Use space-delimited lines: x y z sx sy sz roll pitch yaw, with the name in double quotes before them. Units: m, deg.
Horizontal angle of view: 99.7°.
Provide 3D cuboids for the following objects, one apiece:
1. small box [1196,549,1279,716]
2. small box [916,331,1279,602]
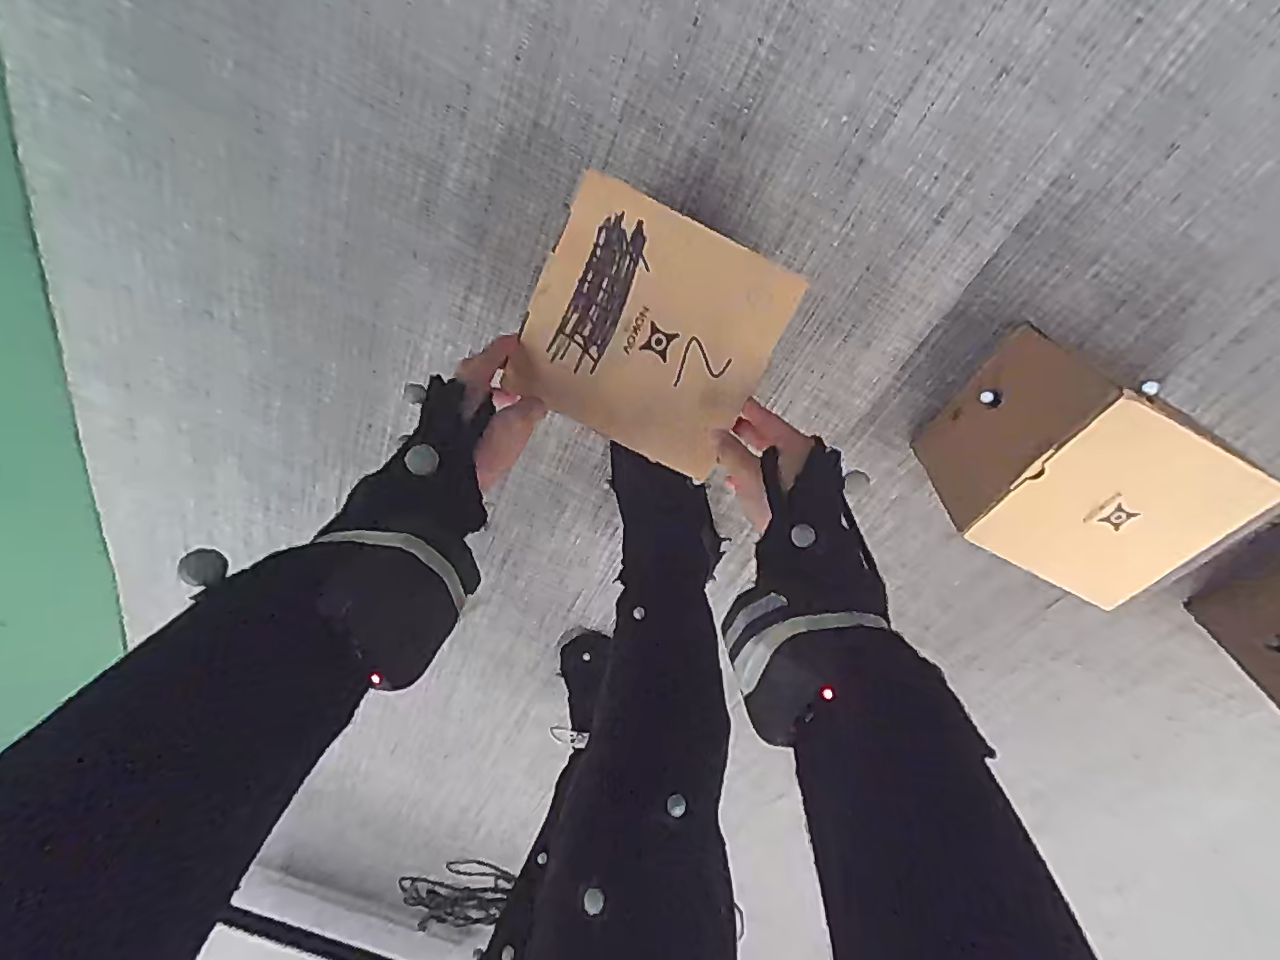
"small box" 0.787 0.182 0.594 0.168 0.176 0.179 28 122 -11
"small box" 0.412 -0.020 0.527 0.179 0.176 0.168 26 124 -7
